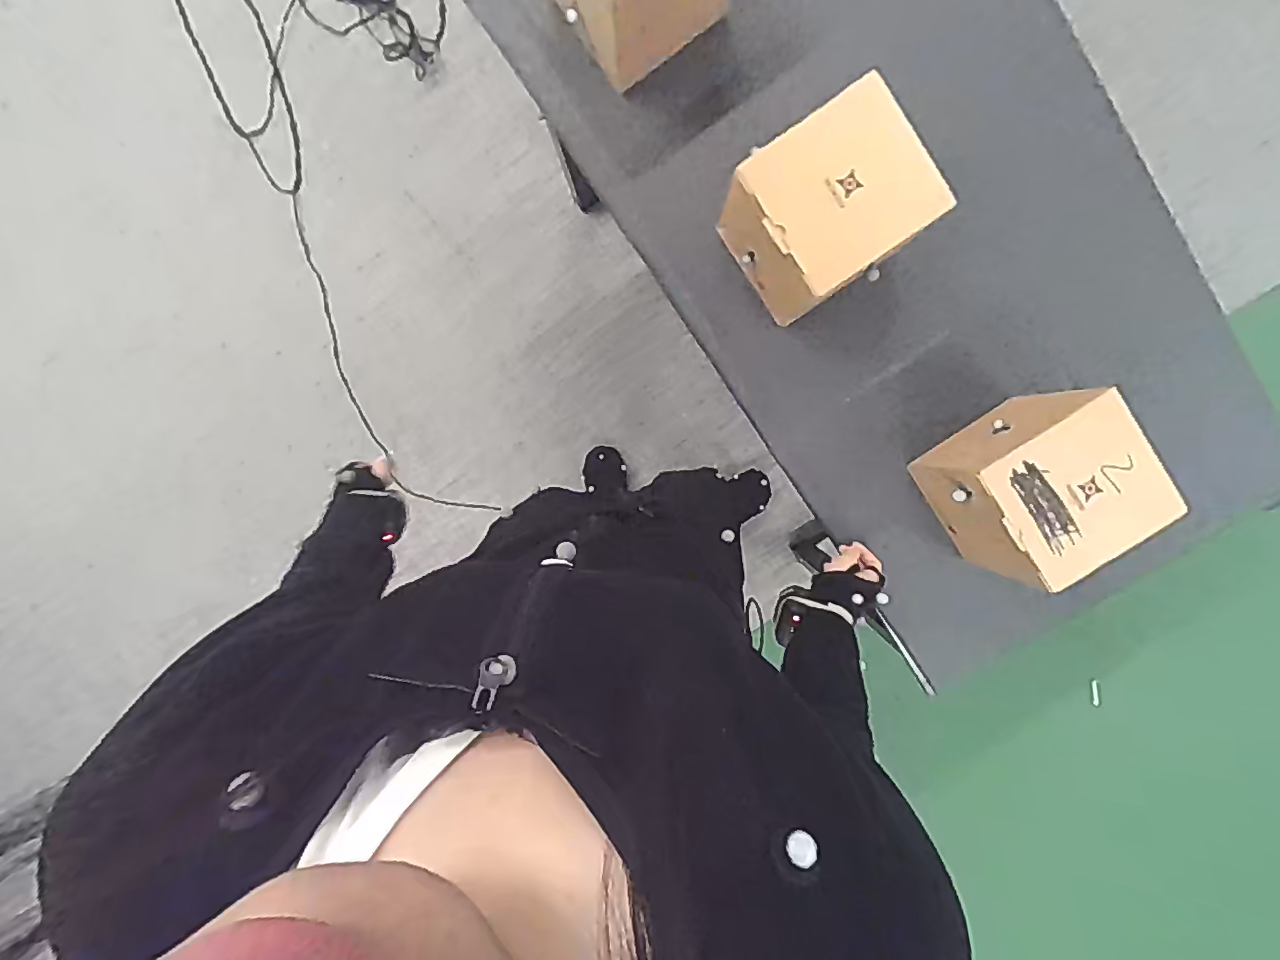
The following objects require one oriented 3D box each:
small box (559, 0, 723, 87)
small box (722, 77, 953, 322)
[{"bbox_3d":[-0.002,-0.617,0.621,0.179,0.176,0.168,-35,94,4],"label":"small box"},{"bbox_3d":[0.219,-0.317,0.652,0.179,0.176,0.168,-34,95,4],"label":"small box"}]
